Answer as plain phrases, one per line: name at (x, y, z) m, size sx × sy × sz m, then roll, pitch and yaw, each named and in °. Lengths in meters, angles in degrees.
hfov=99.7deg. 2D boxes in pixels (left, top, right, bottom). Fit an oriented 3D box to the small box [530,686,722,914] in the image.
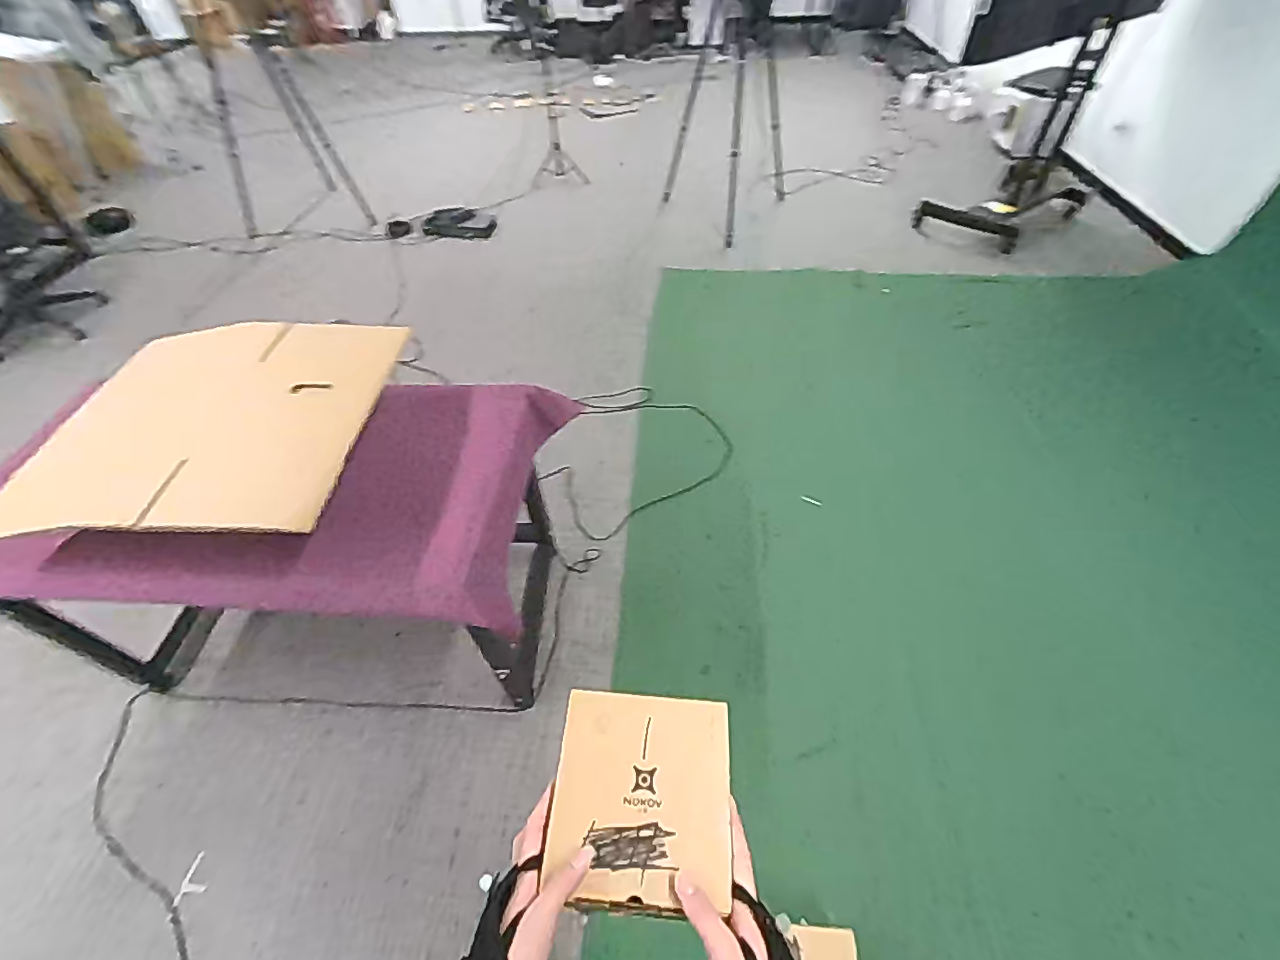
small box at (-0.007, 0.336, 0.563) m, size 0.168 × 0.176 × 0.179 m, roll 3°, pitch 50°, yaw 1°
